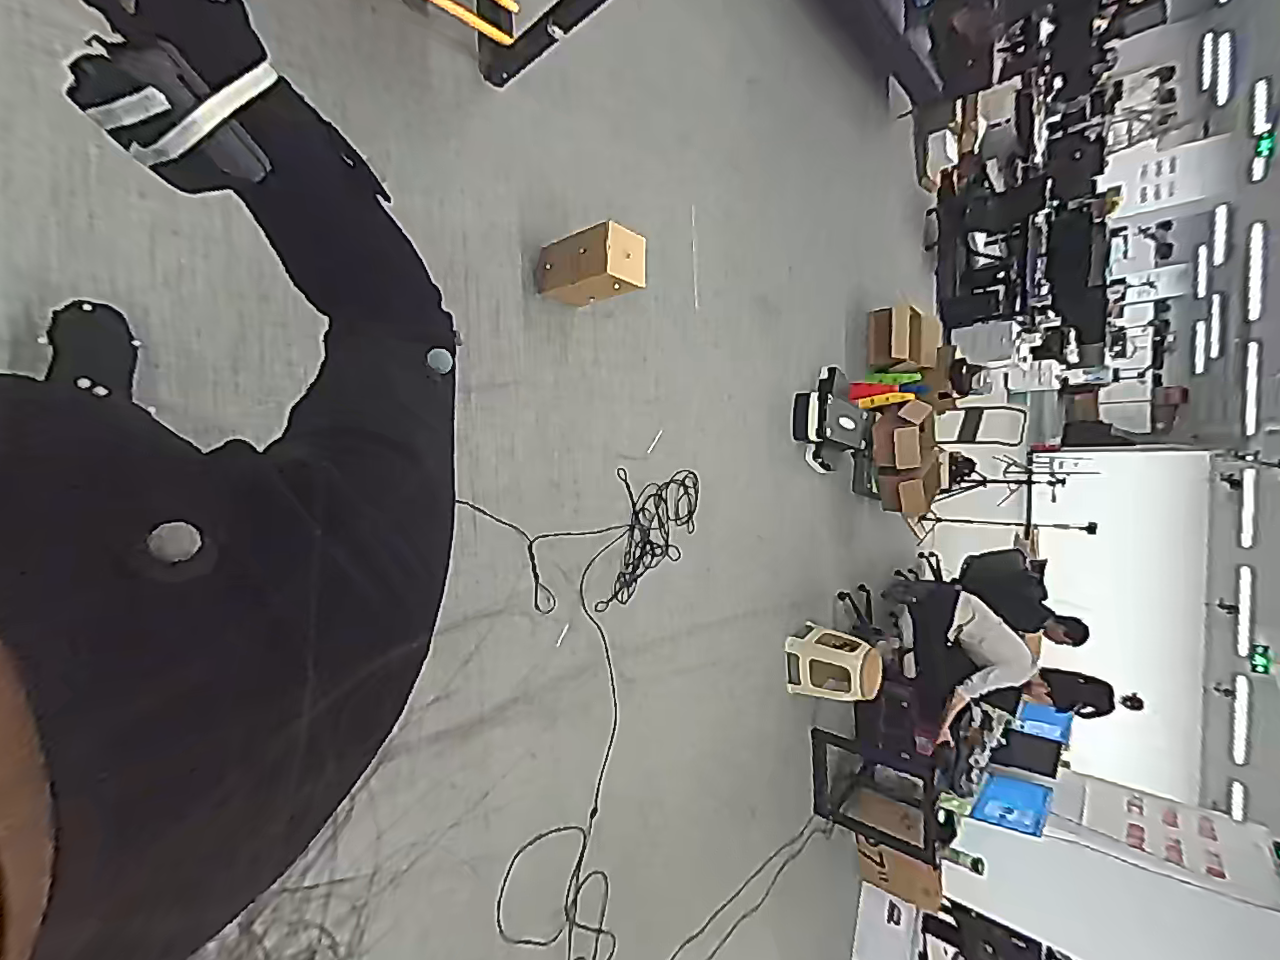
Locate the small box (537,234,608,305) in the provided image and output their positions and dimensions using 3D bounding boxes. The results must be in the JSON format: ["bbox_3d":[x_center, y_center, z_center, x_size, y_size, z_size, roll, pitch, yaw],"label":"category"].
[{"bbox_3d":[-0.233,-0.721,1.876,0.179,0.176,0.168,3,88,-48],"label":"small box"}]
